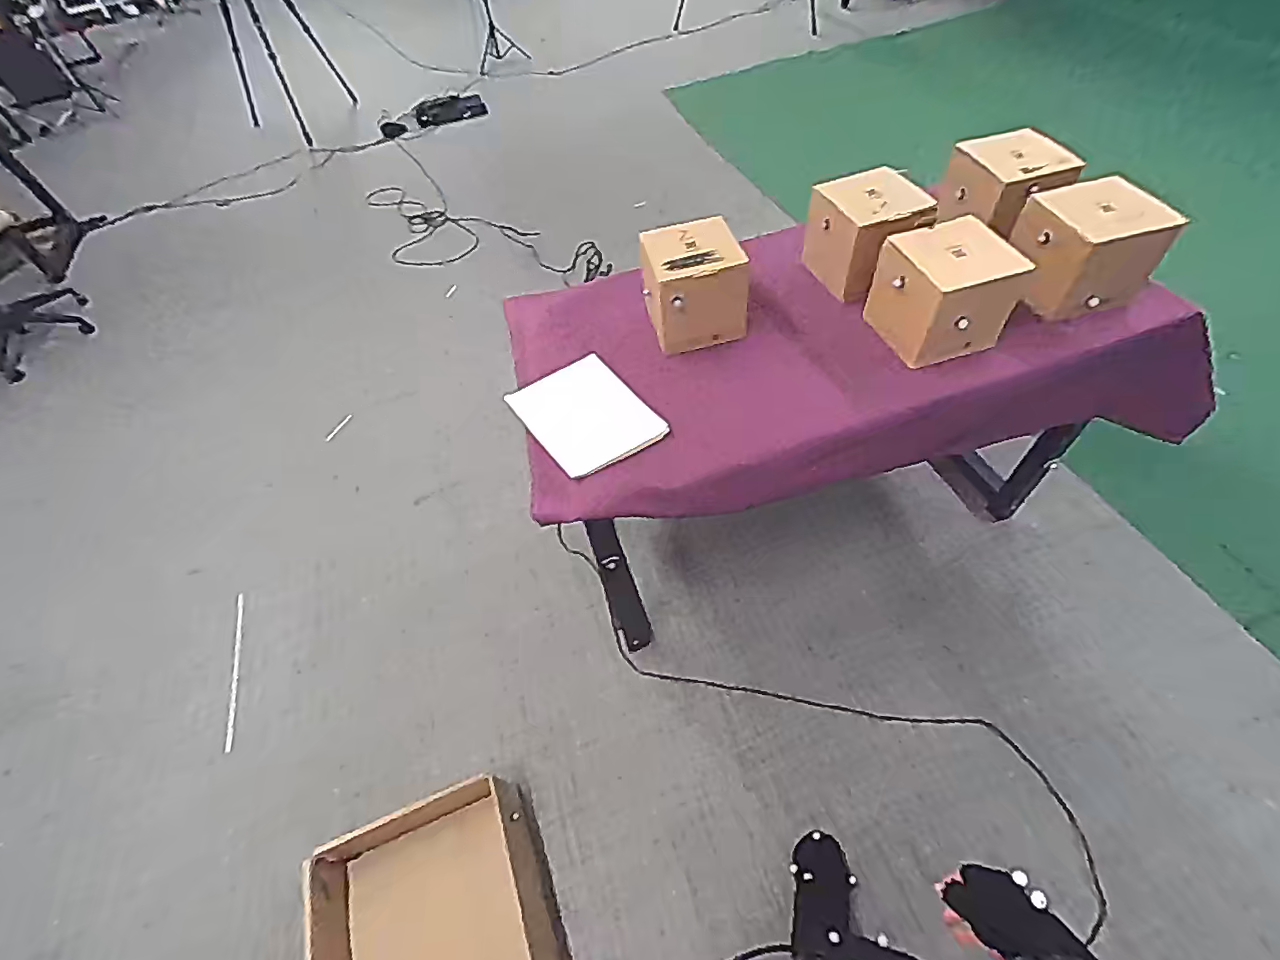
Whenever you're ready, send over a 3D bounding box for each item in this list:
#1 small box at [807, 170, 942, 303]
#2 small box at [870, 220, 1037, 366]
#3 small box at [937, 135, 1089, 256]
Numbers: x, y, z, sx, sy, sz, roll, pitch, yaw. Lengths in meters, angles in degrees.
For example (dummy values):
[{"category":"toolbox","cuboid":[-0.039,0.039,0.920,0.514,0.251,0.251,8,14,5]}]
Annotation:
[{"category":"small box","cuboid":[0.459,-0.489,1.093,0.168,0.176,0.179,-17,55,-6]},{"category":"small box","cuboid":[0.543,-0.325,0.966,0.168,0.176,0.179,-15,54,-4]},{"category":"small box","cuboid":[0.756,-0.581,1.126,0.168,0.176,0.179,-13,53,-3]}]
